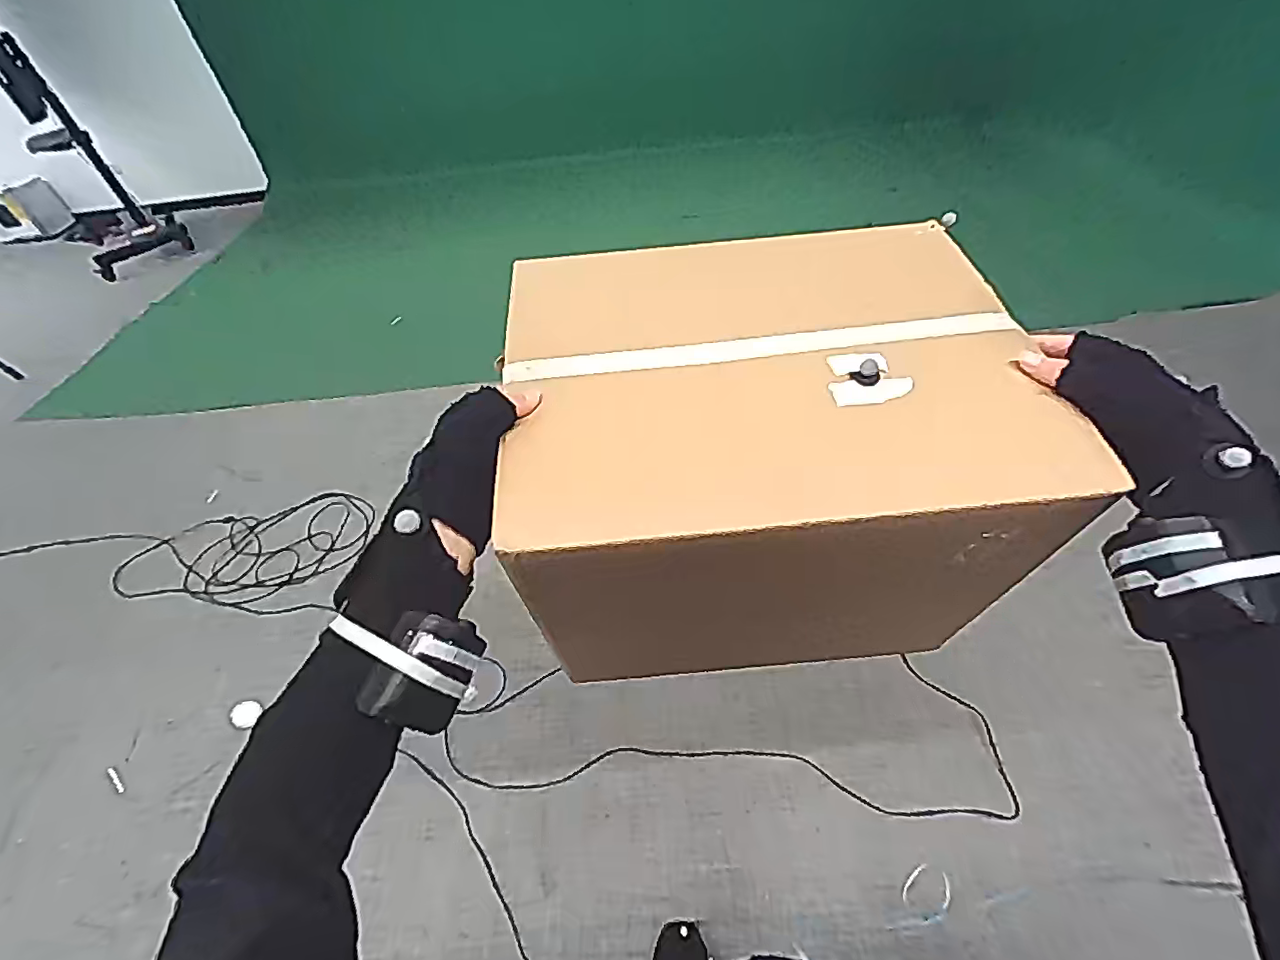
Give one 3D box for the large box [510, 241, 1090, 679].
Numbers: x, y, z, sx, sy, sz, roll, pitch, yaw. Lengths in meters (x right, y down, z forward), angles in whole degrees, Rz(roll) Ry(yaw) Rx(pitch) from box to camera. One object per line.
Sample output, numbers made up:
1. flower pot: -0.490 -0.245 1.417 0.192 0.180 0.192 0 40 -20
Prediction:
1. large box: 0.099 -0.009 0.565 0.408 0.320 0.320 -5 55 -1
